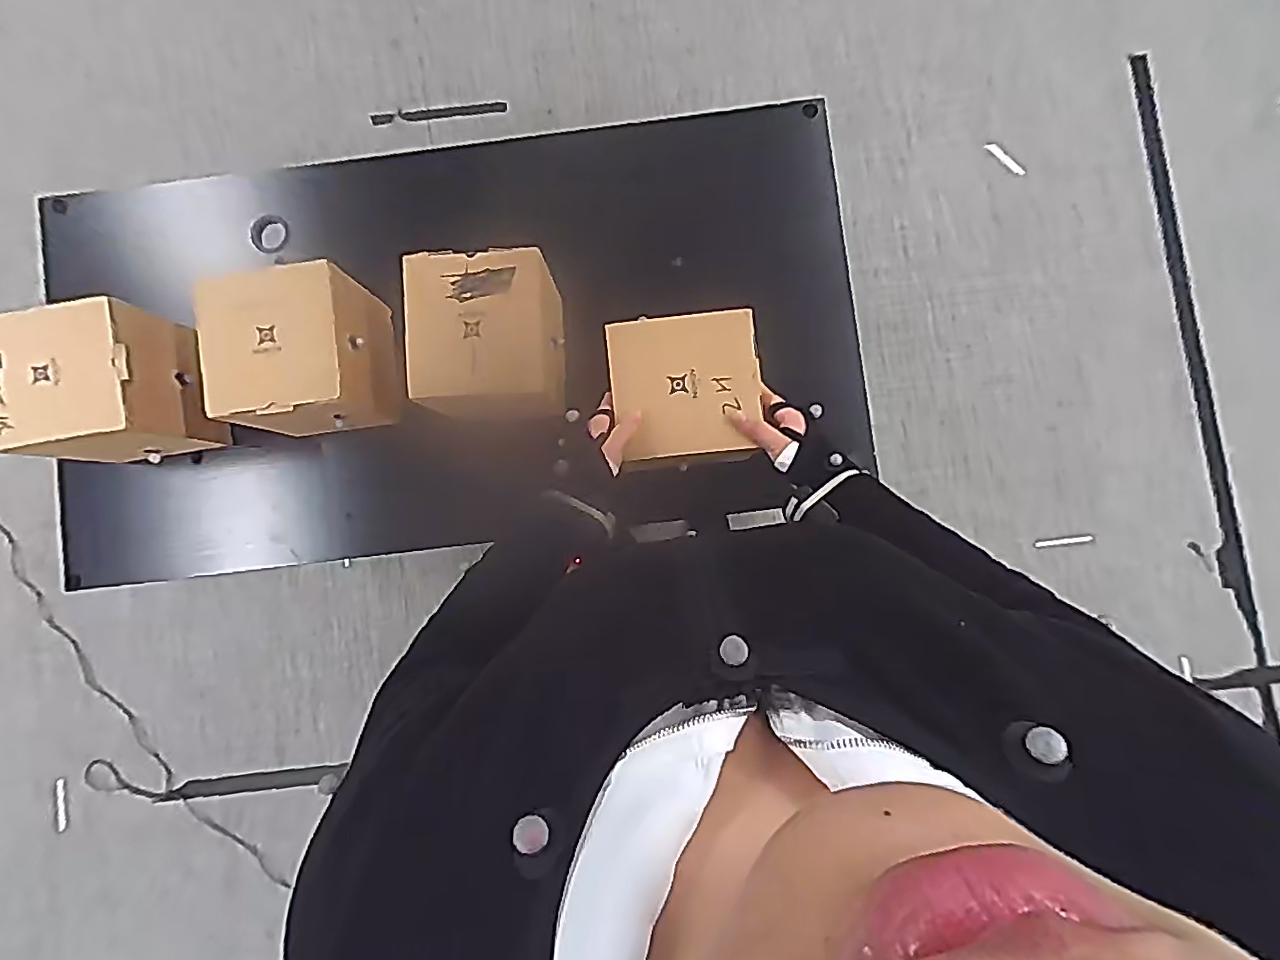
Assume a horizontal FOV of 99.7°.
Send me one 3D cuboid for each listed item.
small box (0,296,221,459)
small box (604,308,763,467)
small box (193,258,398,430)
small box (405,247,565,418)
[{"bbox_3d":[-0.703,-0.125,0.723,0.179,0.176,0.168,-9,87,-1],"label":"small box"},{"bbox_3d":[0.053,-0.109,0.712,0.179,0.176,0.168,-6,88,1],"label":"small box"},{"bbox_3d":[-0.444,-0.167,0.724,0.168,0.176,0.179,-8,86,0],"label":"small box"},{"bbox_3d":[-0.195,-0.185,0.720,0.168,0.176,0.179,-3,88,0],"label":"small box"}]
